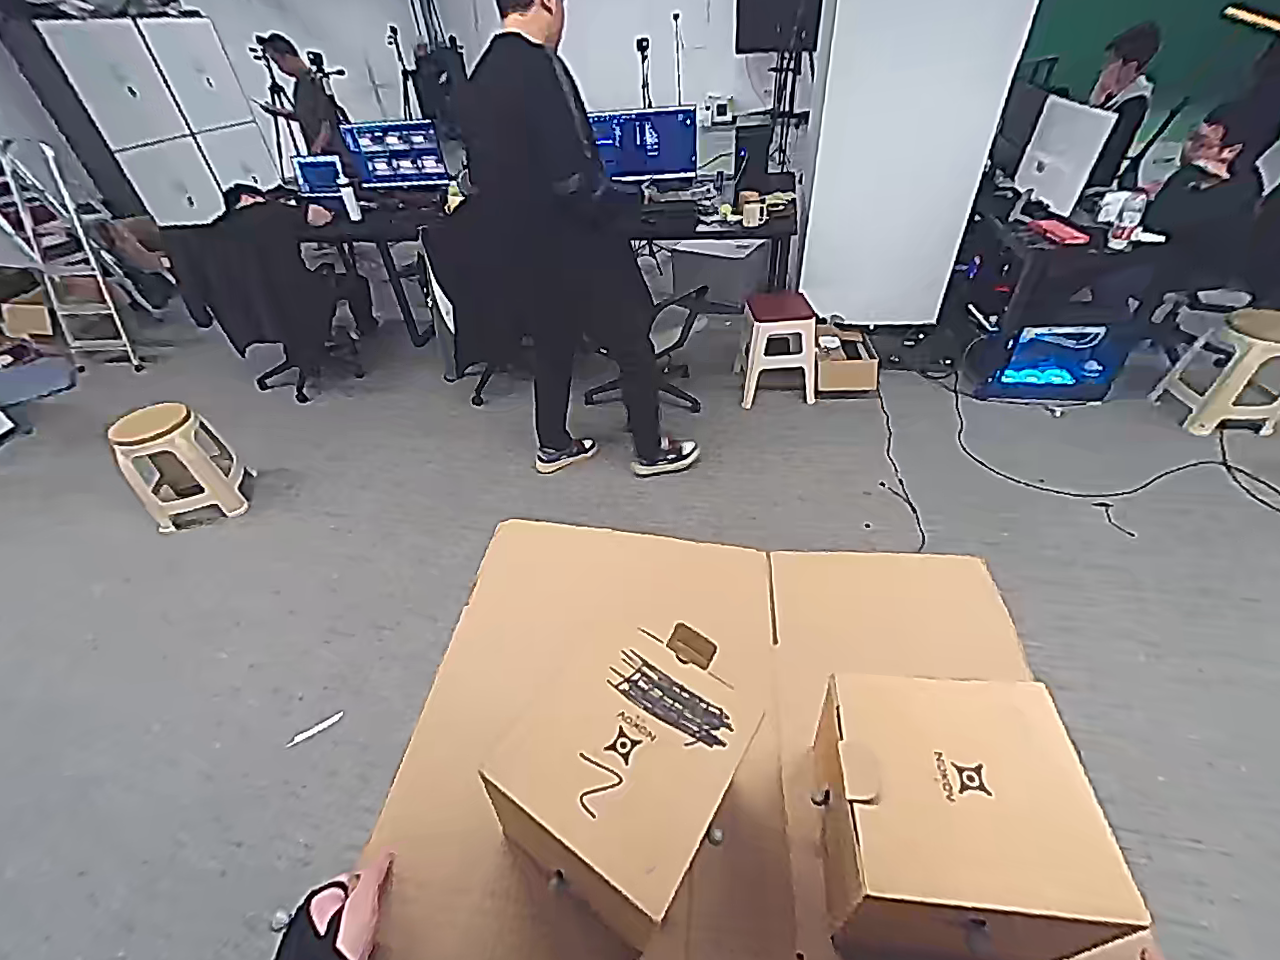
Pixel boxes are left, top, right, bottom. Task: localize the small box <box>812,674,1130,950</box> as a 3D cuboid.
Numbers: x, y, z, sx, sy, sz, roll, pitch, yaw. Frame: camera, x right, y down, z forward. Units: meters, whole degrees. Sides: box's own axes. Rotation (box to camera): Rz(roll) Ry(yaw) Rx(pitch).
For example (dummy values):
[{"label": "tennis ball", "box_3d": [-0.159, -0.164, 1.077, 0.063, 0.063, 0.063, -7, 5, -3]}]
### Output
[{"label": "small box", "box_3d": [0.259, 0.293, 0.481, 0.179, 0.176, 0.168, -1, 42, 9]}]
